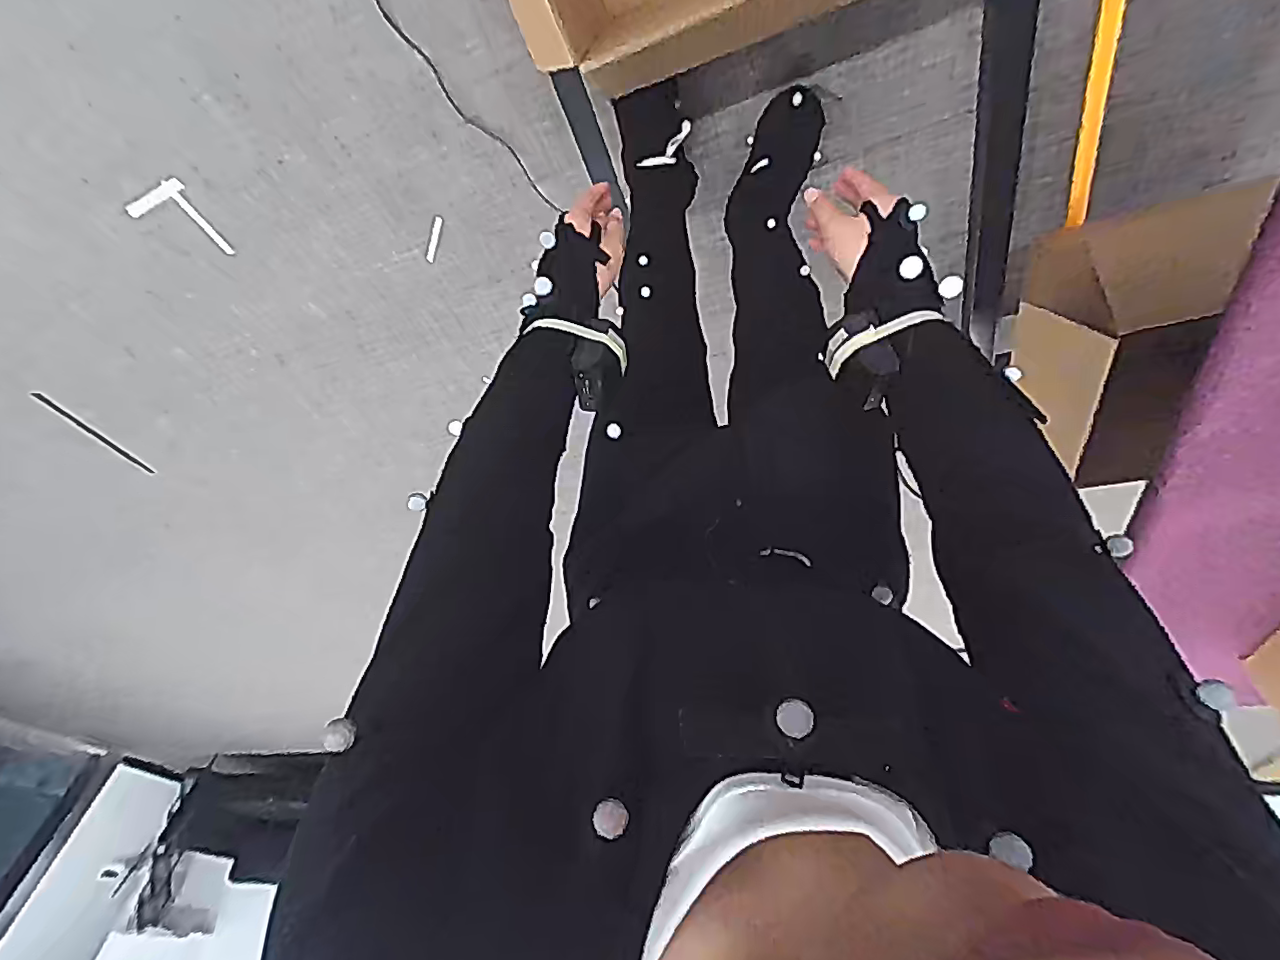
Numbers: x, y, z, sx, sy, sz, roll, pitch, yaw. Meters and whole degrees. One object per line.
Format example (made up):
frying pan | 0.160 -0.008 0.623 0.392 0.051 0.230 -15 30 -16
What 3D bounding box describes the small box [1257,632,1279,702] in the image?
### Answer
small box | 0.808 0.219 0.547 0.168 0.176 0.179 -8 135 14
